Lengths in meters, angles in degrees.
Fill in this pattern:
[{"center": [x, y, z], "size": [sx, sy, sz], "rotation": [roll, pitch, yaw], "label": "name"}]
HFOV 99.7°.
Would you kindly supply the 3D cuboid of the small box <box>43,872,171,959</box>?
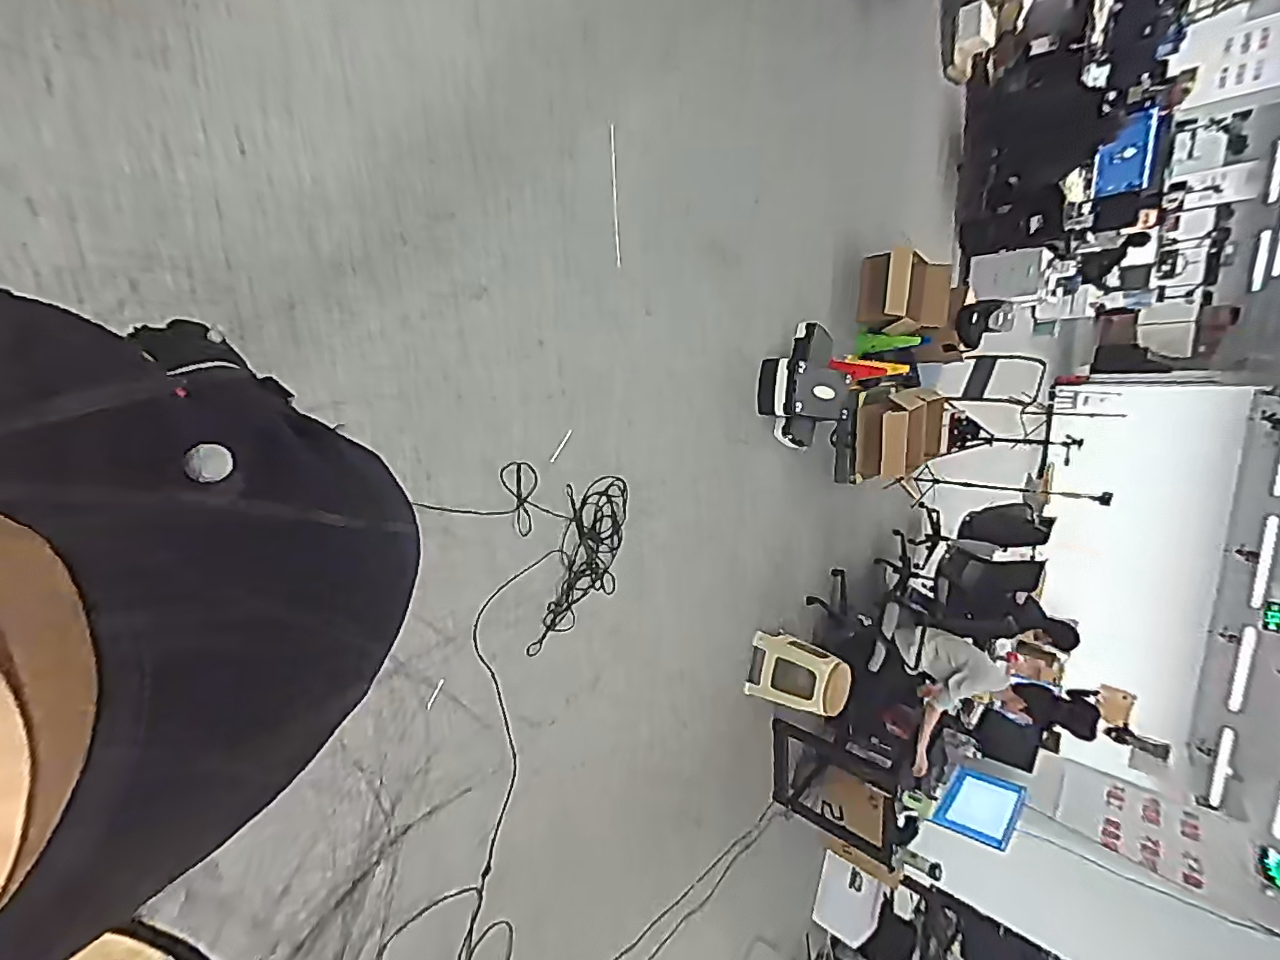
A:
[{"center": [-1.077, 0.947, 1.096], "size": [0.168, 0.176, 0.179], "rotation": [-12, 105, -44], "label": "small box"}]
